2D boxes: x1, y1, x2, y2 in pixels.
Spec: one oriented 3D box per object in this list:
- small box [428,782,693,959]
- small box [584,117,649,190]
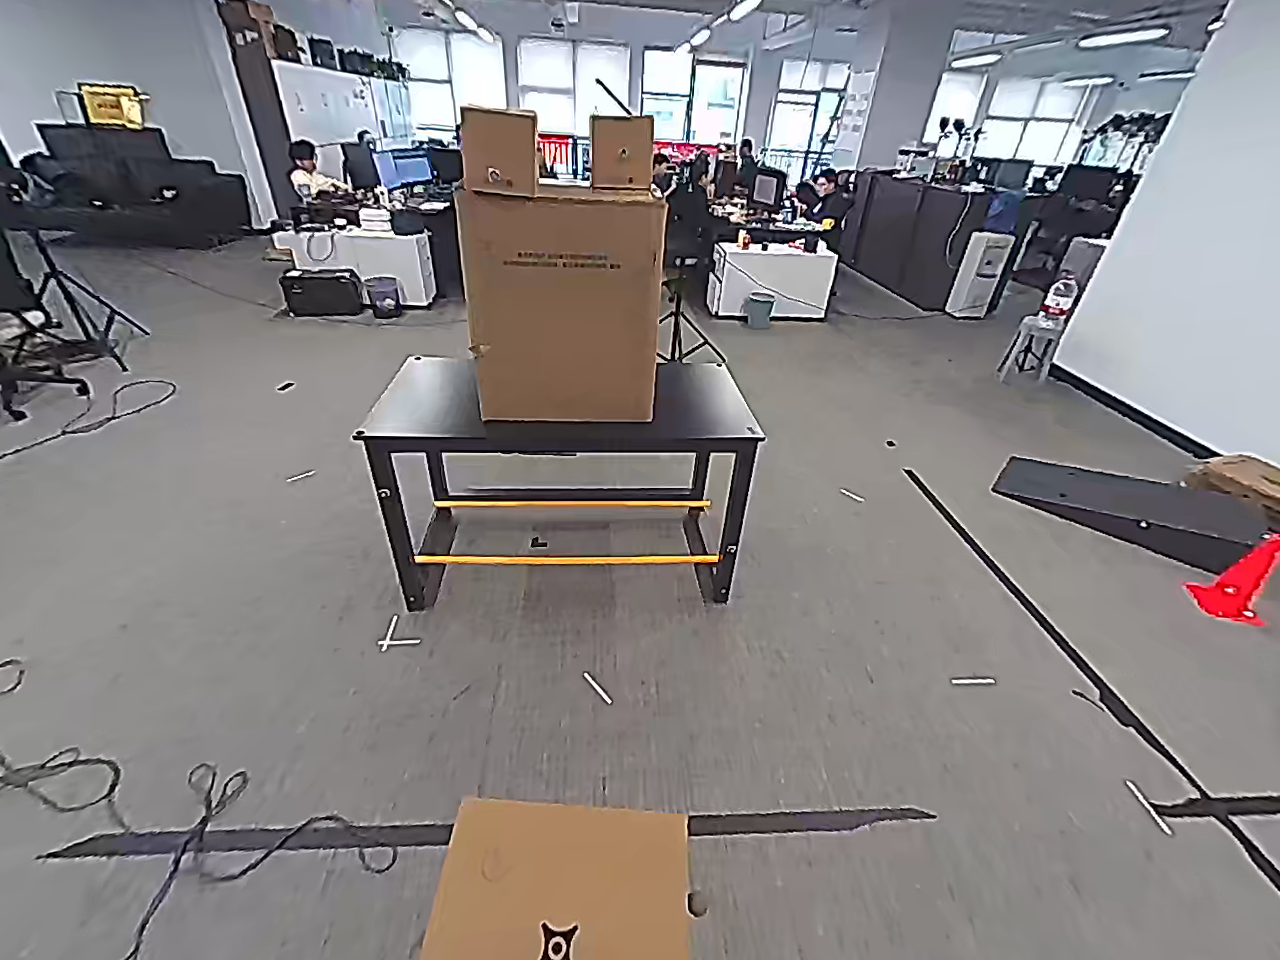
[{"bbox_3d":[-0.051,0.348,0.395,0.168,0.176,0.179,3,44,2],"label":"small box"},{"bbox_3d":[-0.066,-0.907,1.503,0.168,0.176,0.179,-3,33,-7],"label":"small box"}]
